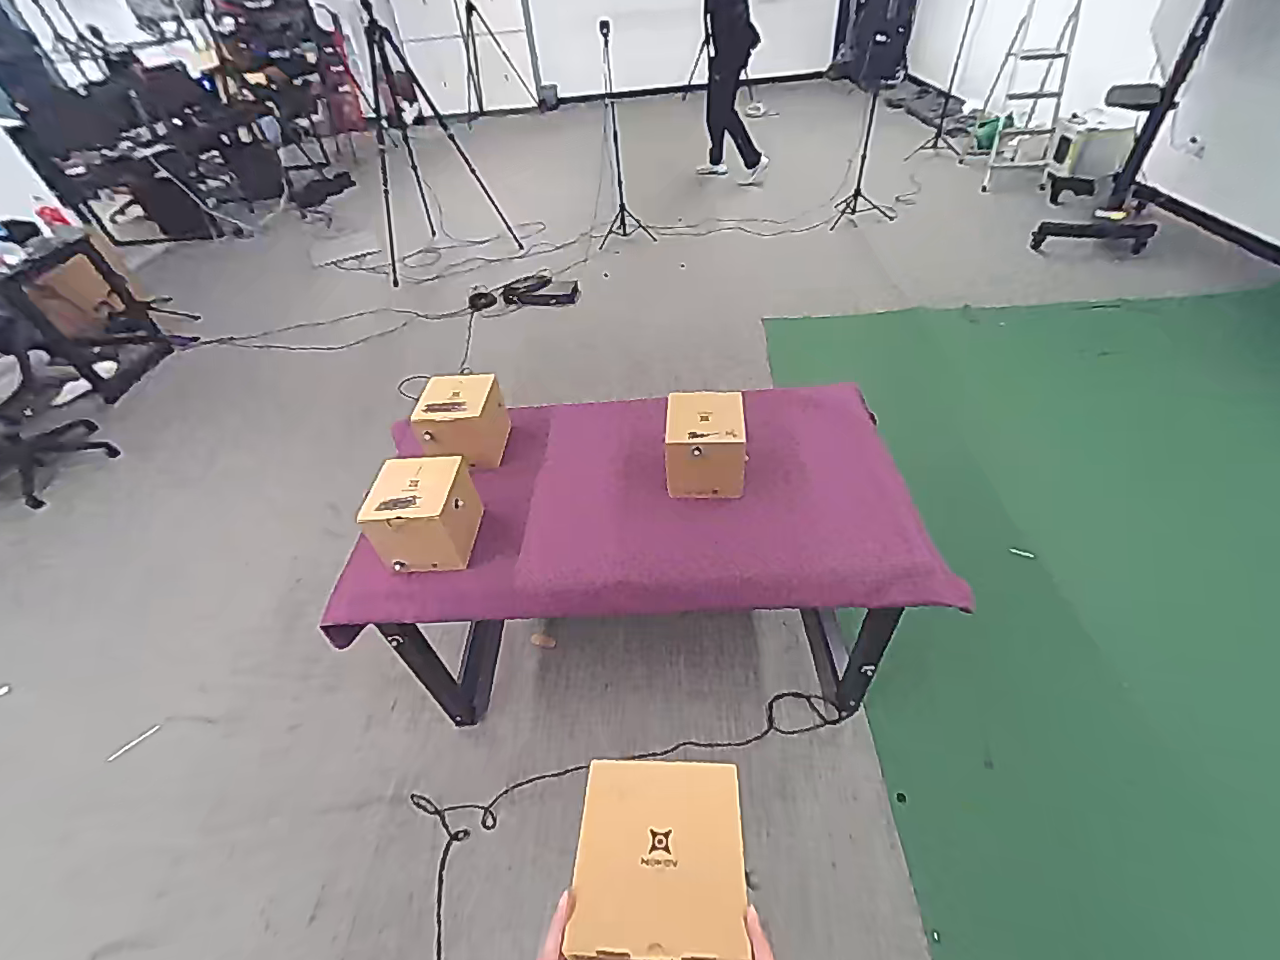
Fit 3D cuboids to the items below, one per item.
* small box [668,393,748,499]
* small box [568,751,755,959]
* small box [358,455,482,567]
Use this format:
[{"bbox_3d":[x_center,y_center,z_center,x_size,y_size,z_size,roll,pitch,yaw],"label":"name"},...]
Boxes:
[{"bbox_3d":[0.151,-0.077,1.213,0.168,0.176,0.179,0,44,7],"label":"small box"},{"bbox_3d":[0.027,0.422,0.578,0.168,0.176,0.179,-1,33,5],"label":"small box"},{"bbox_3d":[-0.442,0.069,1.124,0.168,0.176,0.179,-2,43,3],"label":"small box"}]
